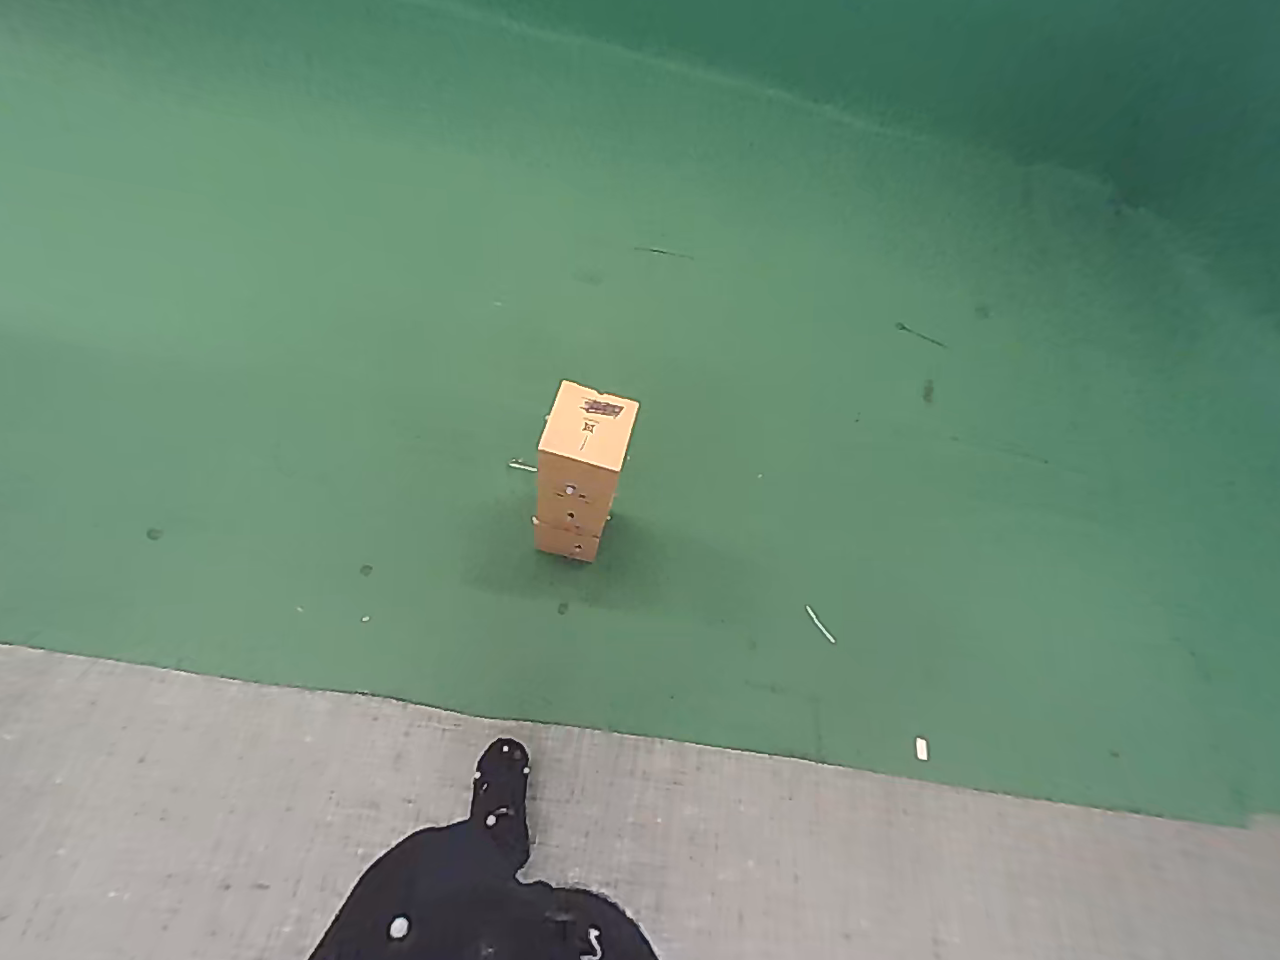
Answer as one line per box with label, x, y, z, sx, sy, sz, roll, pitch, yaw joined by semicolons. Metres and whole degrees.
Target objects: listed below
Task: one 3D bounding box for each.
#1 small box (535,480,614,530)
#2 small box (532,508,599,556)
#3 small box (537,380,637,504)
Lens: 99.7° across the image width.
small box;-0.145;0.002;1.283;0.168;0.176;0.179;16;61;-4
small box;-0.176;0.077;1.404;0.168;0.176;0.179;17;60;-5
small box;-0.116;-0.075;1.140;0.168;0.176;0.179;16;61;-3
